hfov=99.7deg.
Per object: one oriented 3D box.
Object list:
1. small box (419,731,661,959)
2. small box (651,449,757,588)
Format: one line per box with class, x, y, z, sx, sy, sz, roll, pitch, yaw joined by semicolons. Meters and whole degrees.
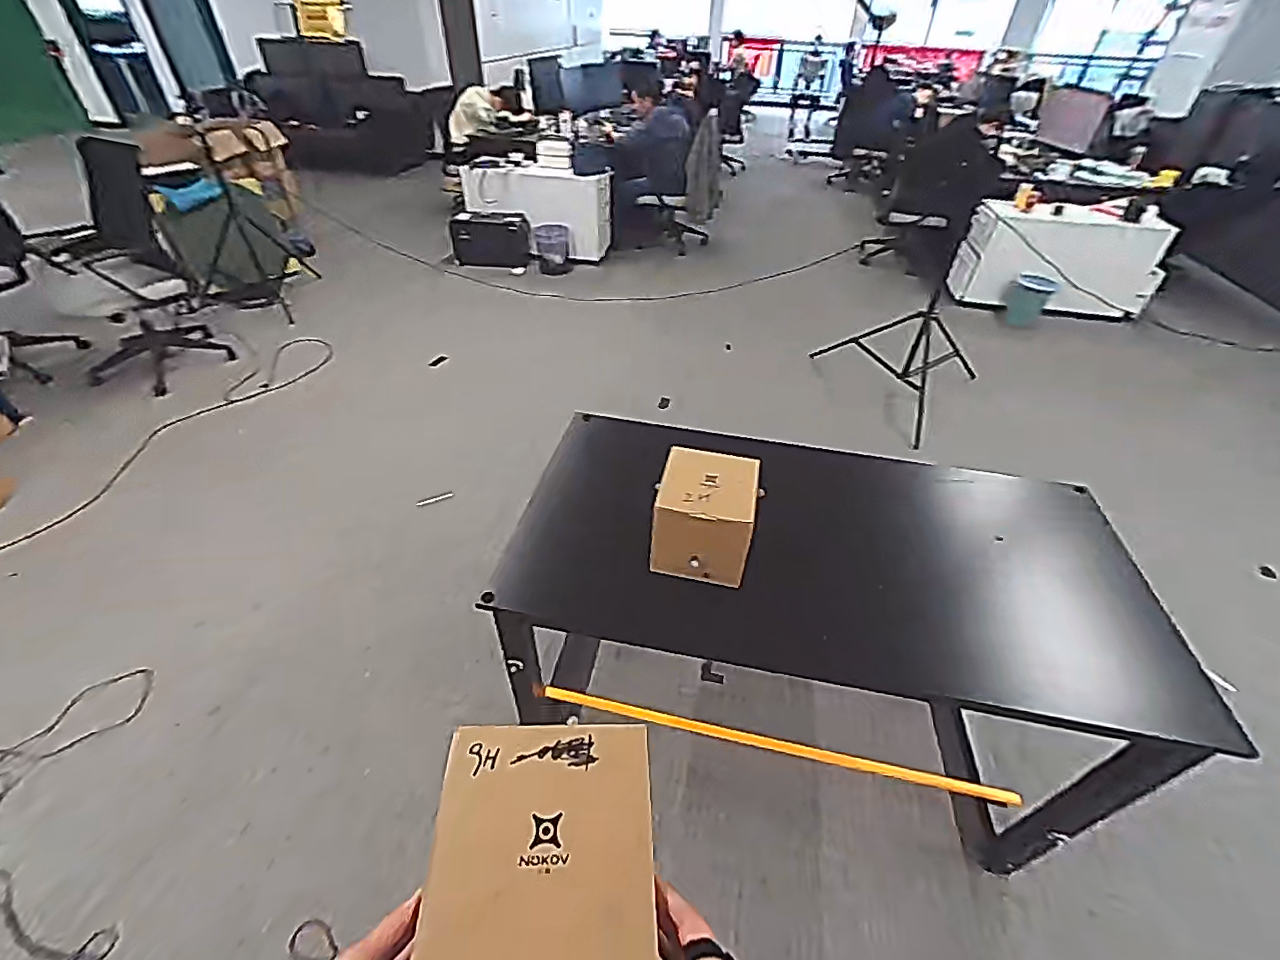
small box;-0.074;0.333;0.462;0.168;0.176;0.179;2;46;-5
small box;0.116;0.070;1.004;0.168;0.176;0.179;9;41;9
